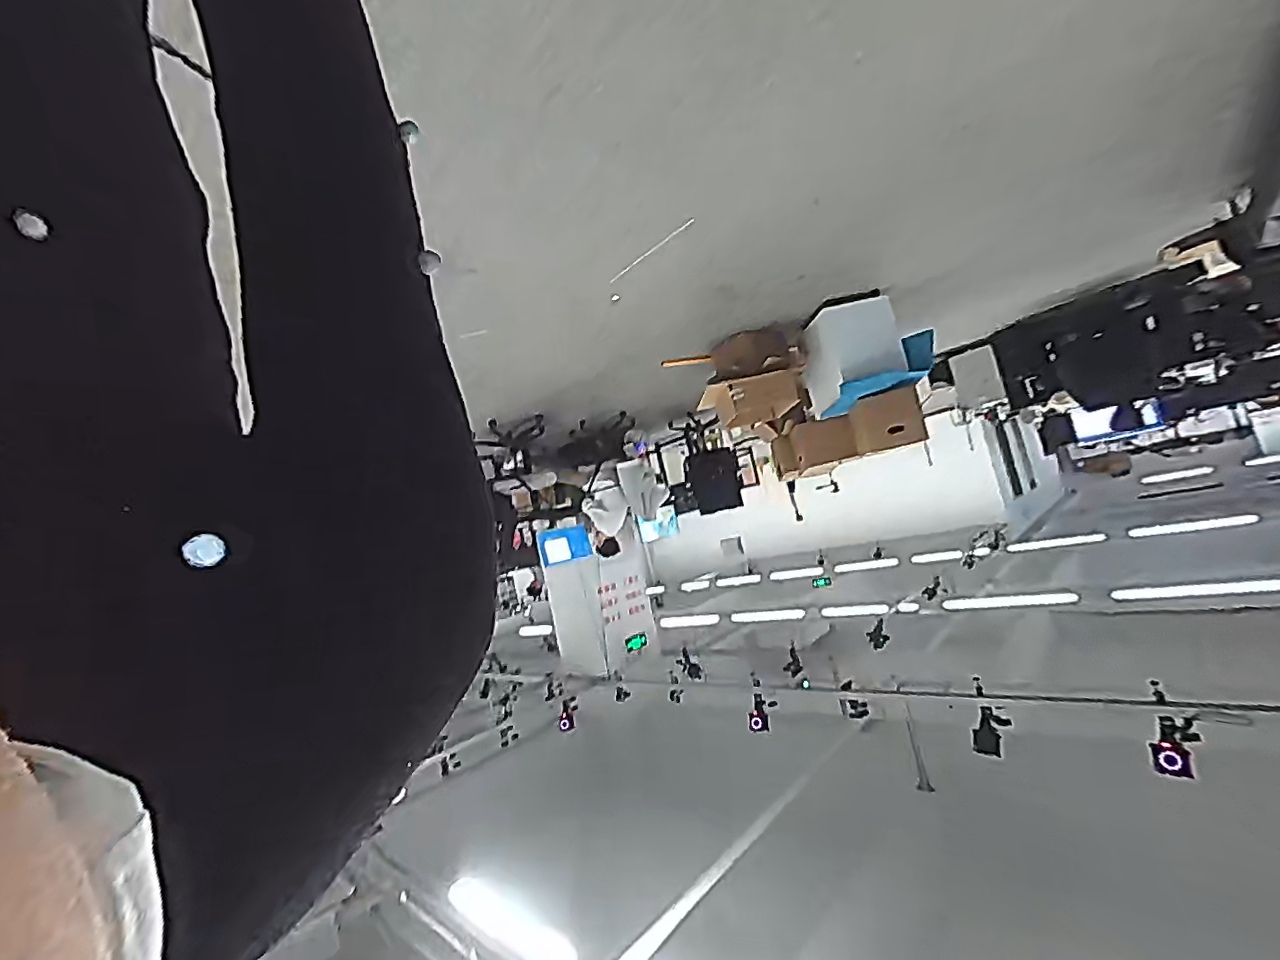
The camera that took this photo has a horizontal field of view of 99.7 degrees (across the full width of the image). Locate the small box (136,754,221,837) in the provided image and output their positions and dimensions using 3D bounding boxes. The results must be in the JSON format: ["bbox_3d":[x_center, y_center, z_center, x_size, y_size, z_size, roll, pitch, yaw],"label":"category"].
[{"bbox_3d":[-1.498,1.006,1.753,0.168,0.176,0.179,-18,174,42],"label":"small box"}]
